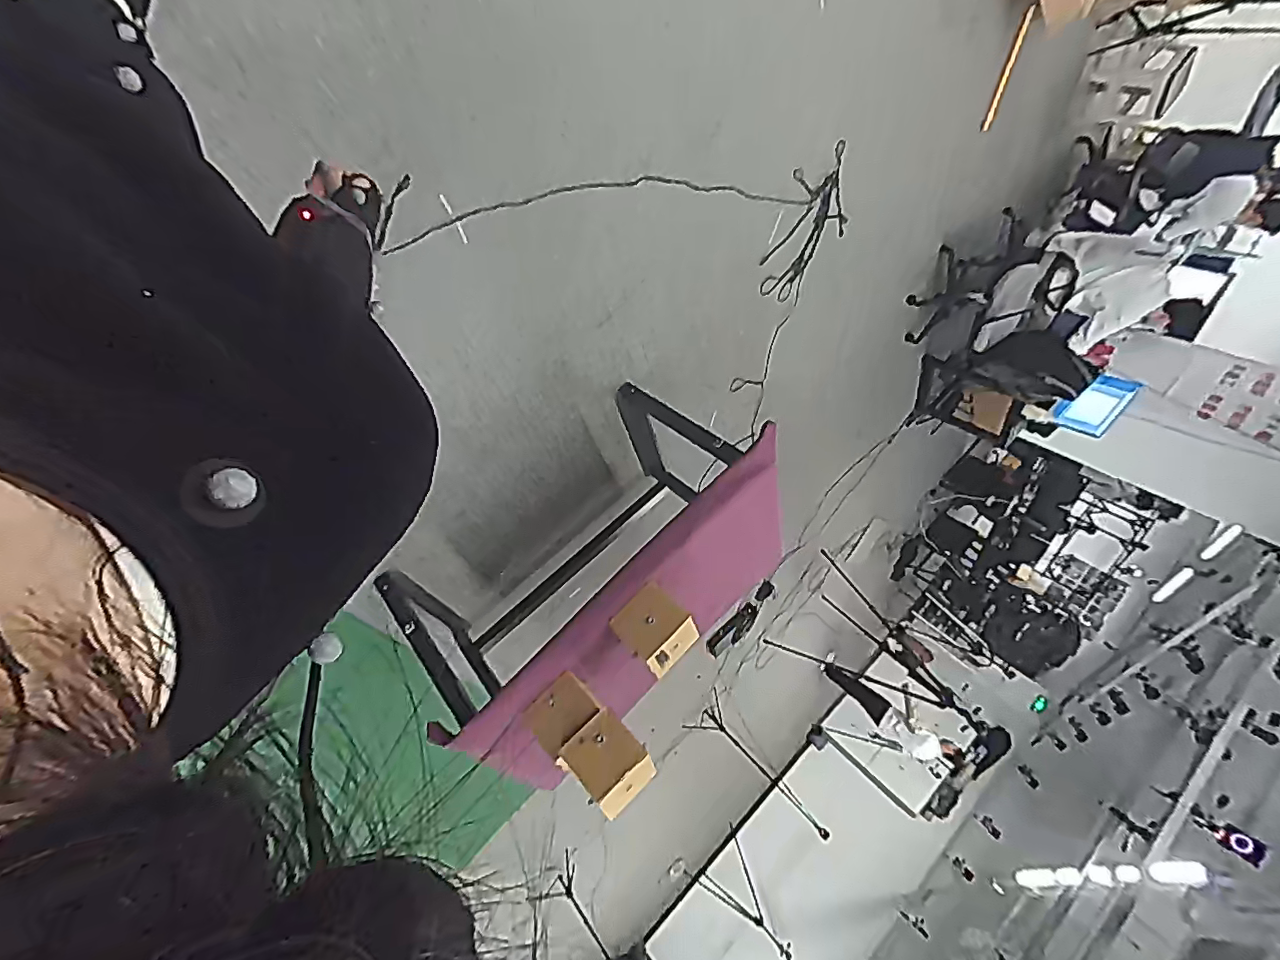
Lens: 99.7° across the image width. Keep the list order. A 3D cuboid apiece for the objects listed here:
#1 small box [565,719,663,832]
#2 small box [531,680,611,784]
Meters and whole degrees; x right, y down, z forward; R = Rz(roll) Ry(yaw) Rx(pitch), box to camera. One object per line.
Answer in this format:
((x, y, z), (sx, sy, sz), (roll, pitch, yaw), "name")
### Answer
((-0.066, 0.748, 1.379), (0.168, 0.176, 0.179), (-37, 140, -22), "small box")
((-0.177, 0.691, 1.487), (0.179, 0.176, 0.168), (-42, 143, -15), "small box")
